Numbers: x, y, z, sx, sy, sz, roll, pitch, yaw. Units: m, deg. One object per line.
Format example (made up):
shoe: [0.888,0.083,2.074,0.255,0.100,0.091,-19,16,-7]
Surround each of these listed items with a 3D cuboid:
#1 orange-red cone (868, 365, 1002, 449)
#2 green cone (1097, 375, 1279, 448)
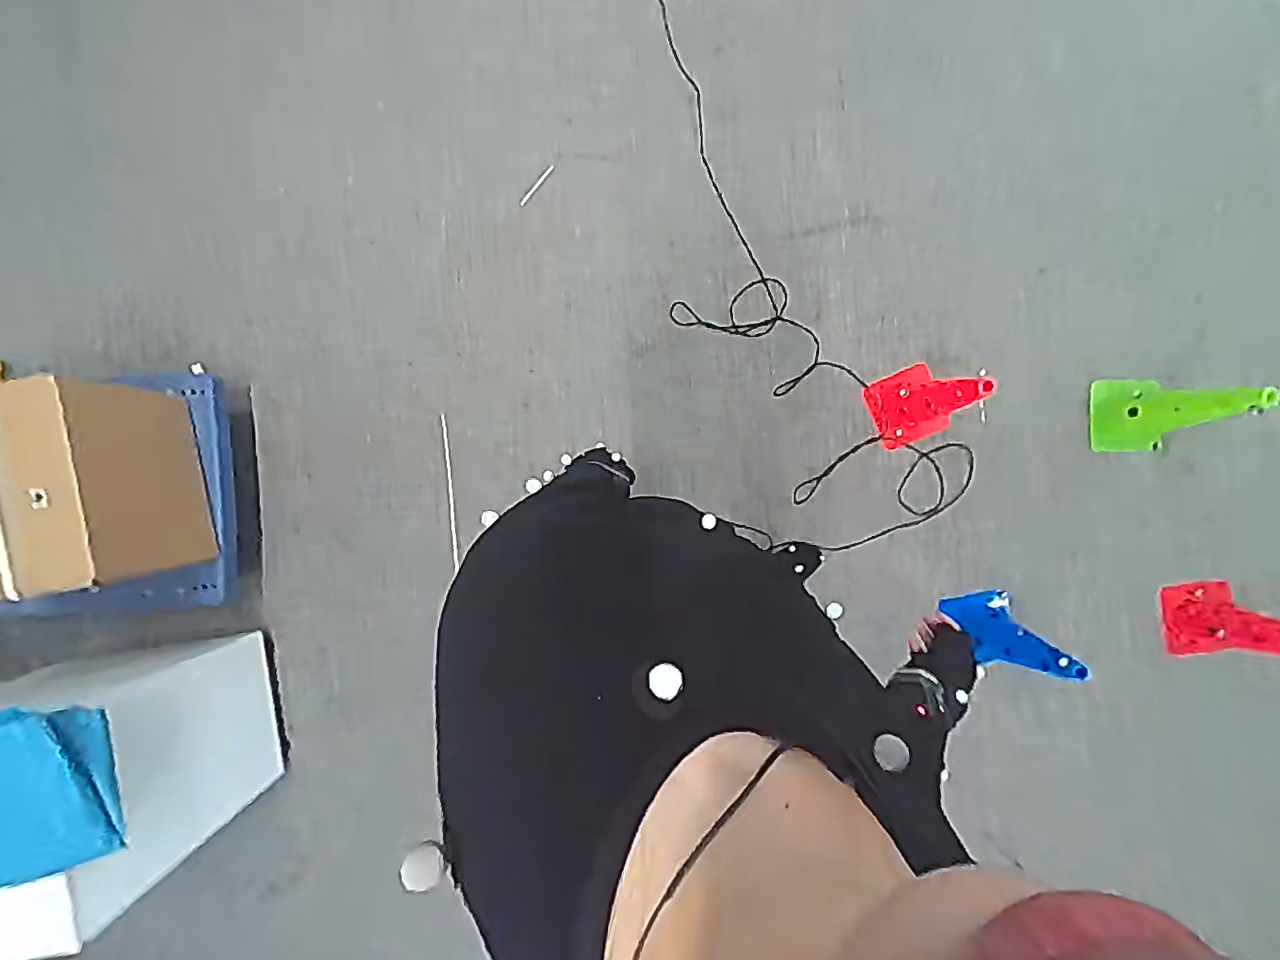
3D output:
orange-red cone: [0.759,-0.205,1.338,0.199,0.360,0.198,-23,91,-2]
green cone: [1.380,-0.193,1.339,0.202,0.368,0.200,-2,89,1]
